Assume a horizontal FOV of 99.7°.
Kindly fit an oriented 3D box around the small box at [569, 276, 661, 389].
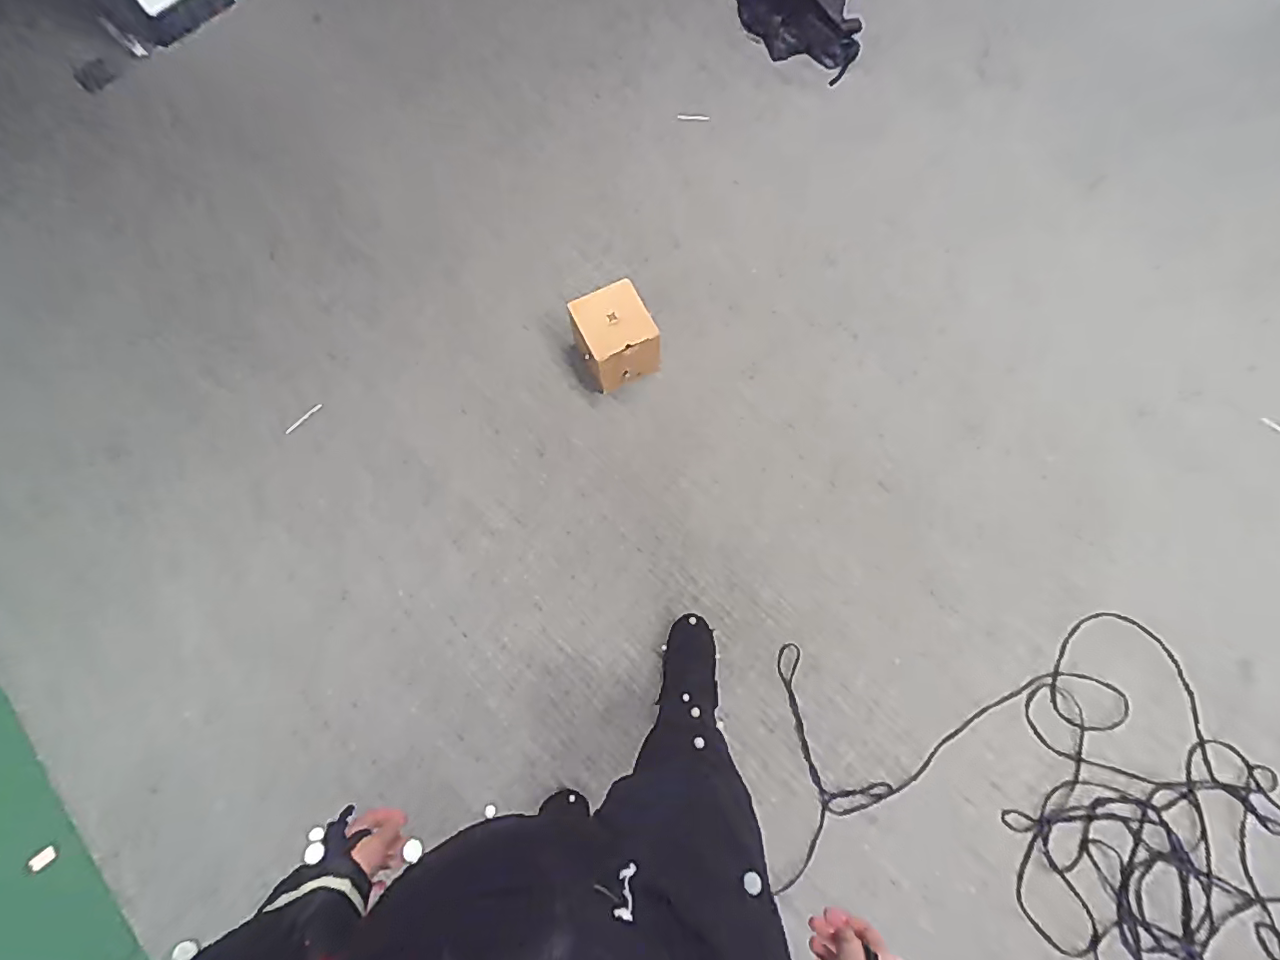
[{"bbox_3d":[-0.060,-0.356,1.332,0.168,0.176,0.179,-26,75,-7],"label":"small box"}]
